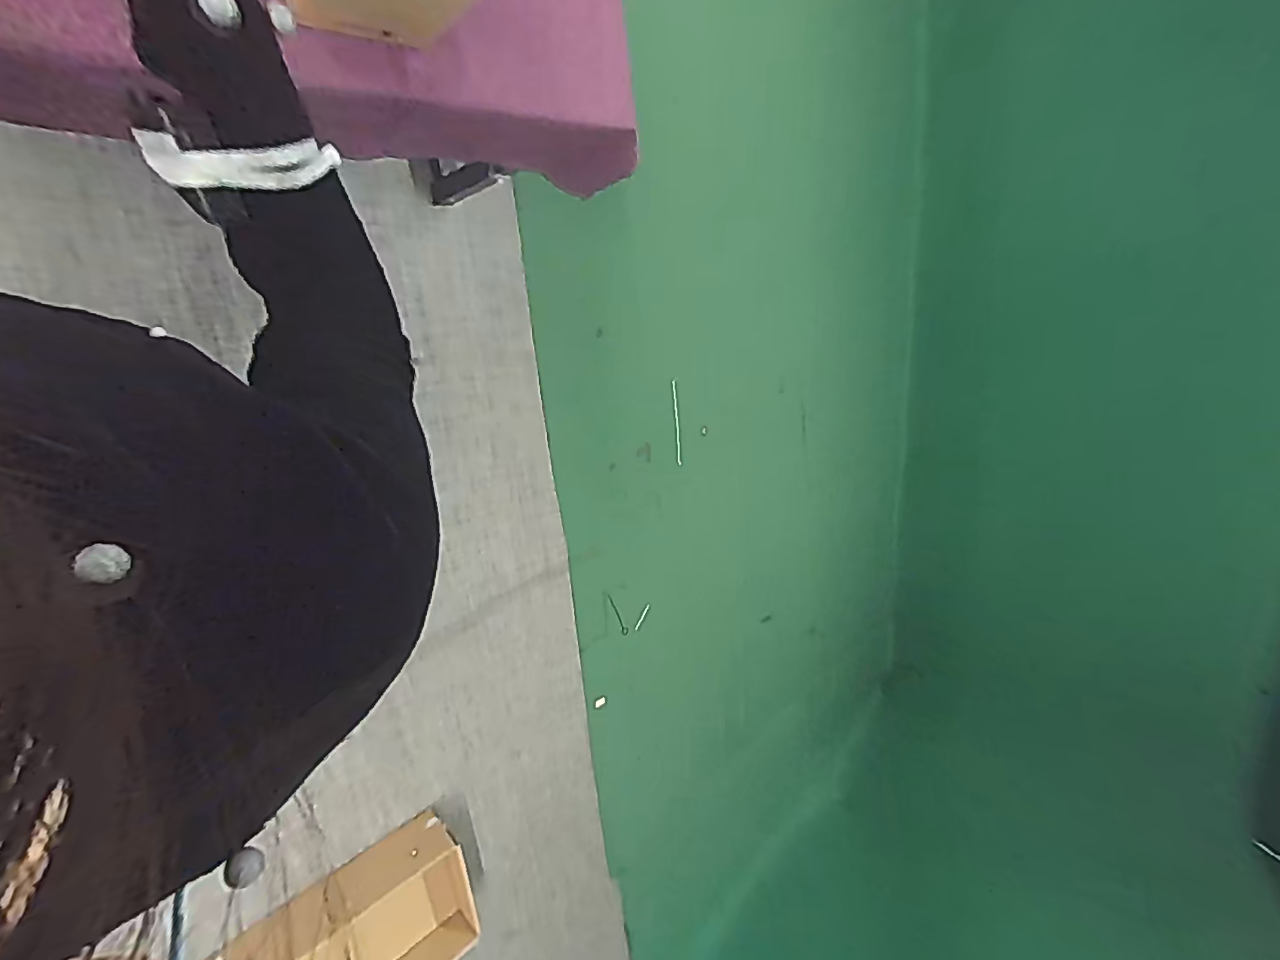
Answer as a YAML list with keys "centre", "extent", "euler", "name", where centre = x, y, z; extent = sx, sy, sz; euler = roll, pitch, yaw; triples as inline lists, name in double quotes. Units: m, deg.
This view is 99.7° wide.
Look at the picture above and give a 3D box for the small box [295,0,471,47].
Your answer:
- centre: [-0.303, -0.636, 0.603]
  extent: [0.168, 0.176, 0.179]
  euler: [-23, 113, -38]
  name: "small box"
